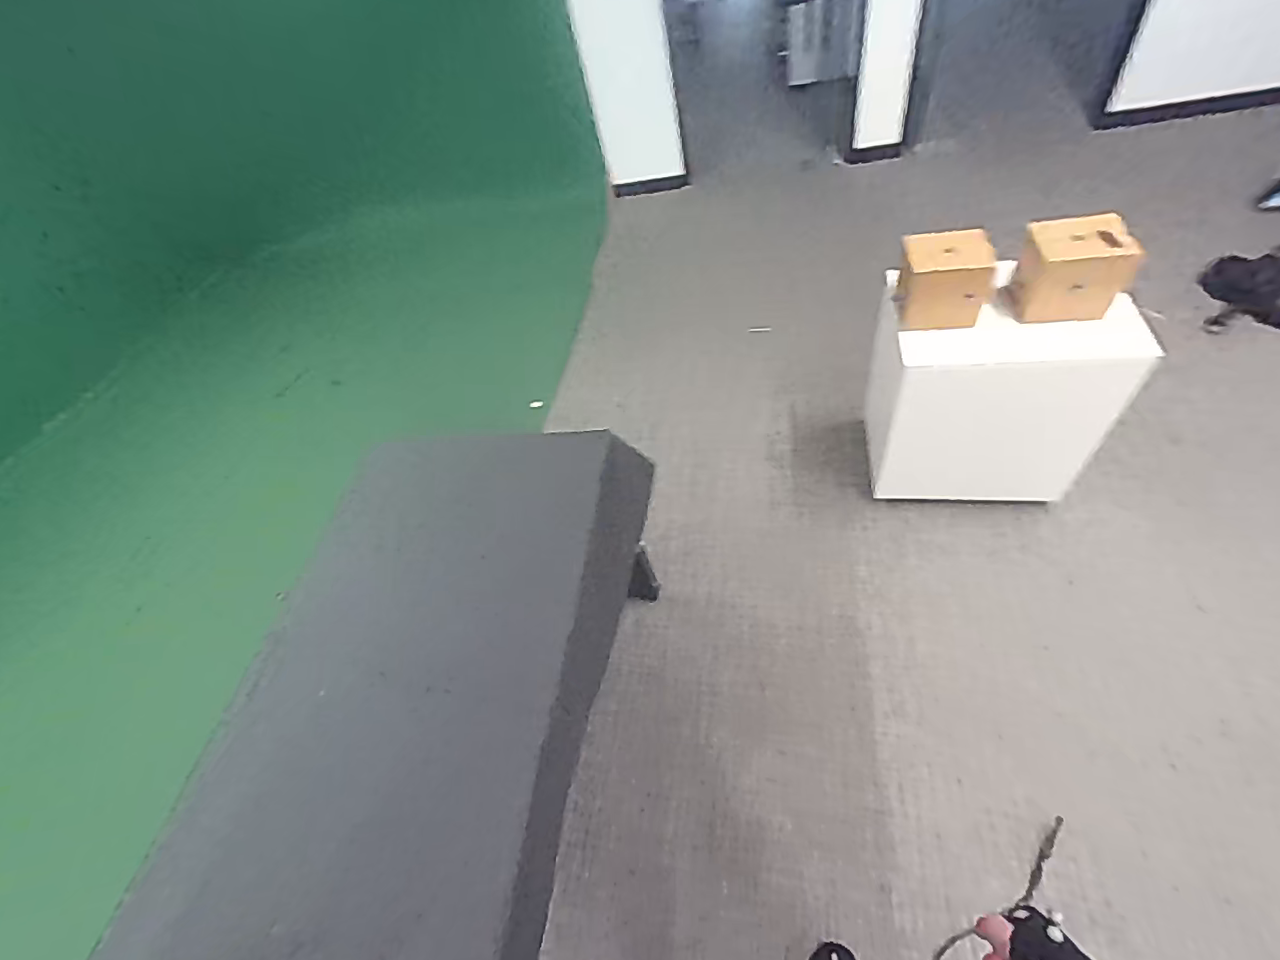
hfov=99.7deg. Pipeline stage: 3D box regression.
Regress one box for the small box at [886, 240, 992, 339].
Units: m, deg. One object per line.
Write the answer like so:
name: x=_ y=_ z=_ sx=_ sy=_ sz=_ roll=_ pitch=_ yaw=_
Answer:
small box: x=0.729 y=-0.467 z=1.338 sx=0.179 sy=0.176 sz=0.168 roll=-1 pitch=51 yaw=12

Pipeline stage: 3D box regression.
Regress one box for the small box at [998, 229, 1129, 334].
small box: x=0.987 y=-0.465 z=1.278 sx=0.179 sy=0.176 sz=0.168 roll=0 pitch=52 yaw=14
